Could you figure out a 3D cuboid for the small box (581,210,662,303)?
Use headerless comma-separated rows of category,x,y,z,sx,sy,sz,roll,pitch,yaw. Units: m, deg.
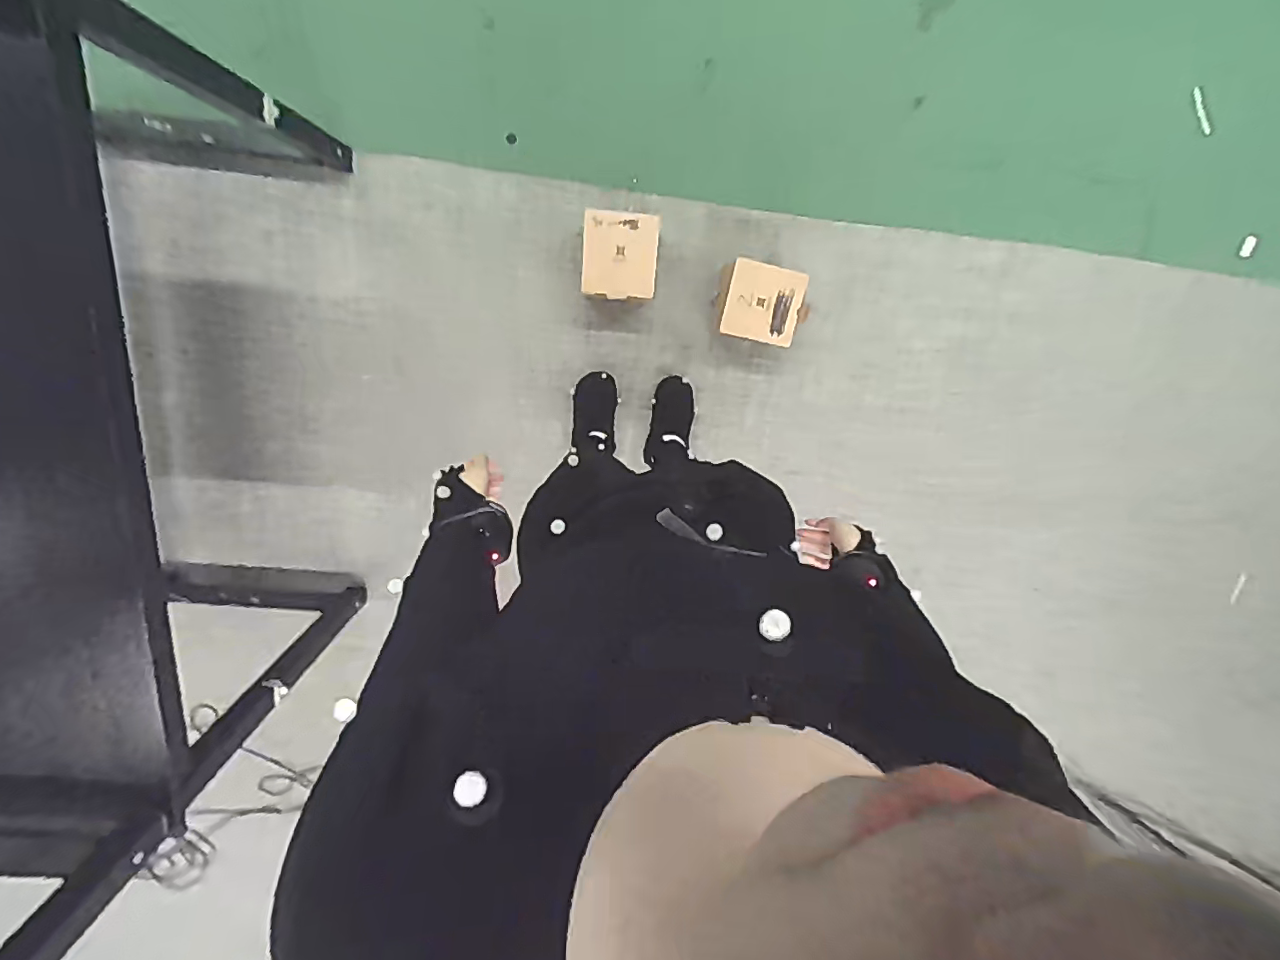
small box,-0.043,-0.507,1.248,0.168,0.176,0.179,4,107,-3
